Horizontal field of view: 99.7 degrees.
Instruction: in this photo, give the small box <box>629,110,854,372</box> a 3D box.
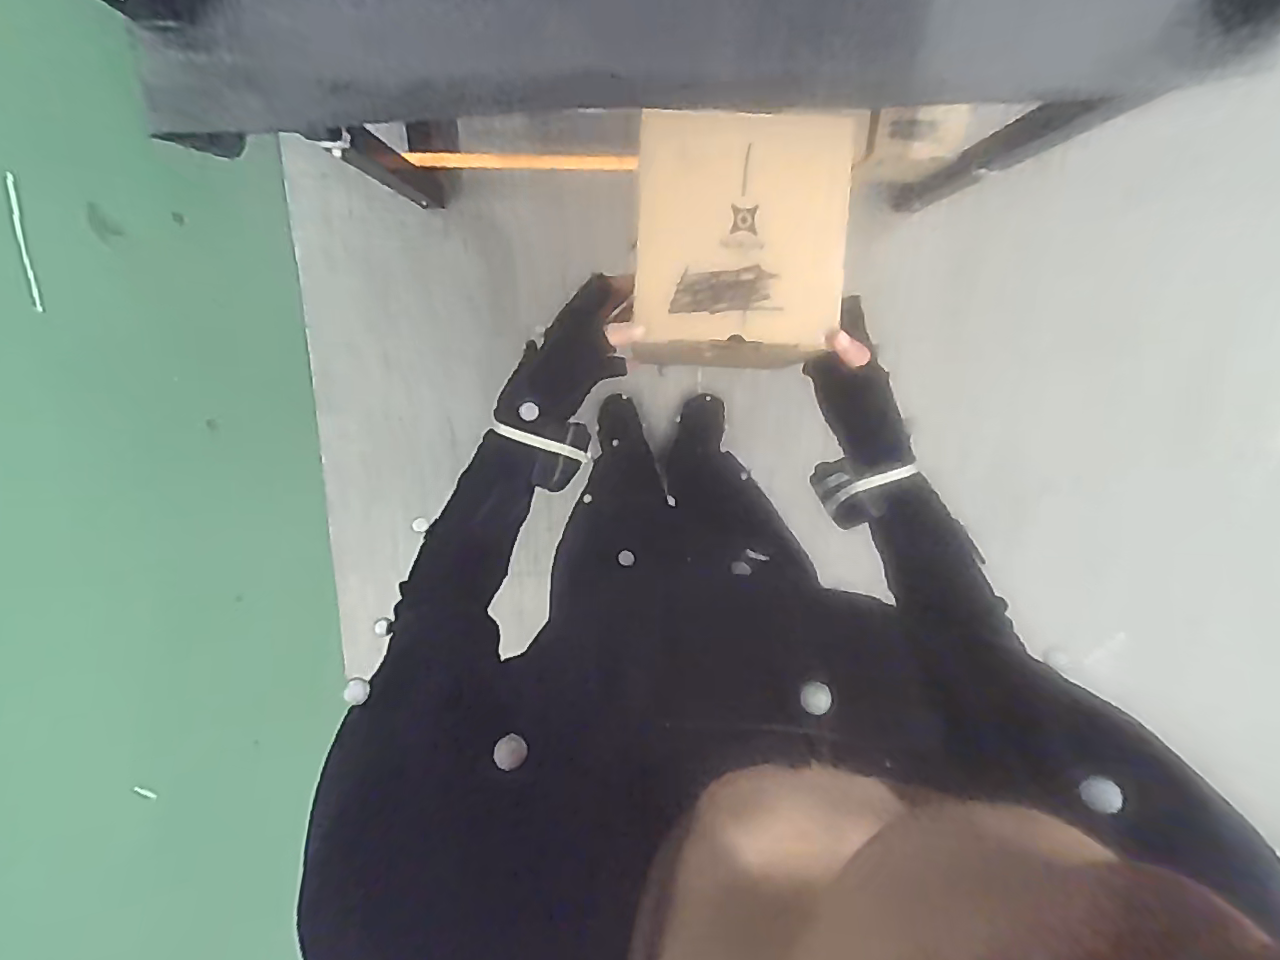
[{"bbox_3d":[0.078,-0.198,0.499,0.168,0.176,0.179,3,93,-1],"label":"small box"}]
